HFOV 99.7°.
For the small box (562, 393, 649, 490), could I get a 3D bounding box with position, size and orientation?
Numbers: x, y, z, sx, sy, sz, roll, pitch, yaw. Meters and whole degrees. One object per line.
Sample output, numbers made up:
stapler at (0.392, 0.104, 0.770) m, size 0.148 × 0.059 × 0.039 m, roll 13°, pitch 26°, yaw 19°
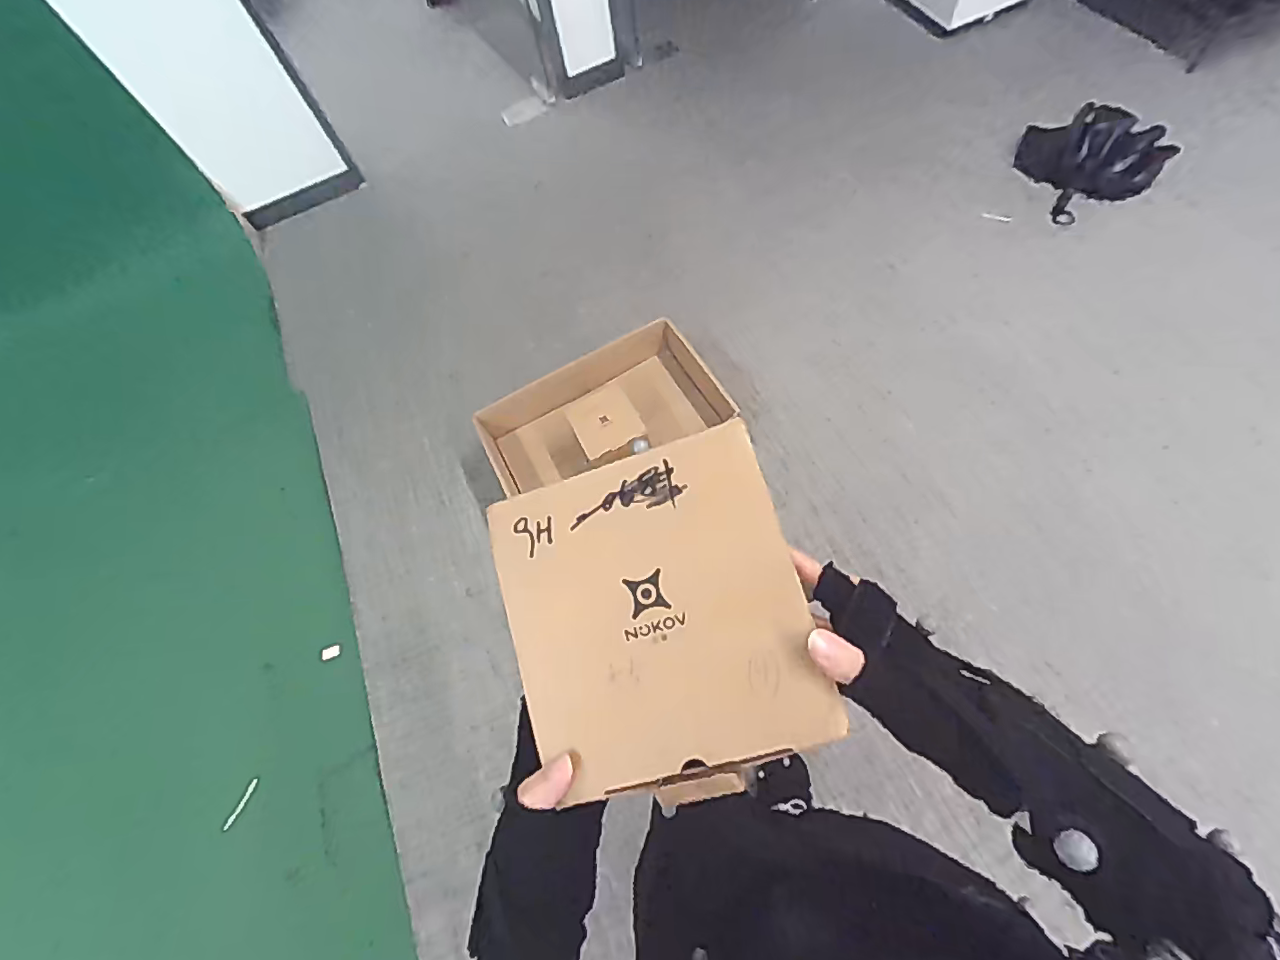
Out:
small box at (-0.086, -0.094, 1.451) m, size 0.168 × 0.176 × 0.179 m, roll -27°, pitch 62°, yaw -7°
